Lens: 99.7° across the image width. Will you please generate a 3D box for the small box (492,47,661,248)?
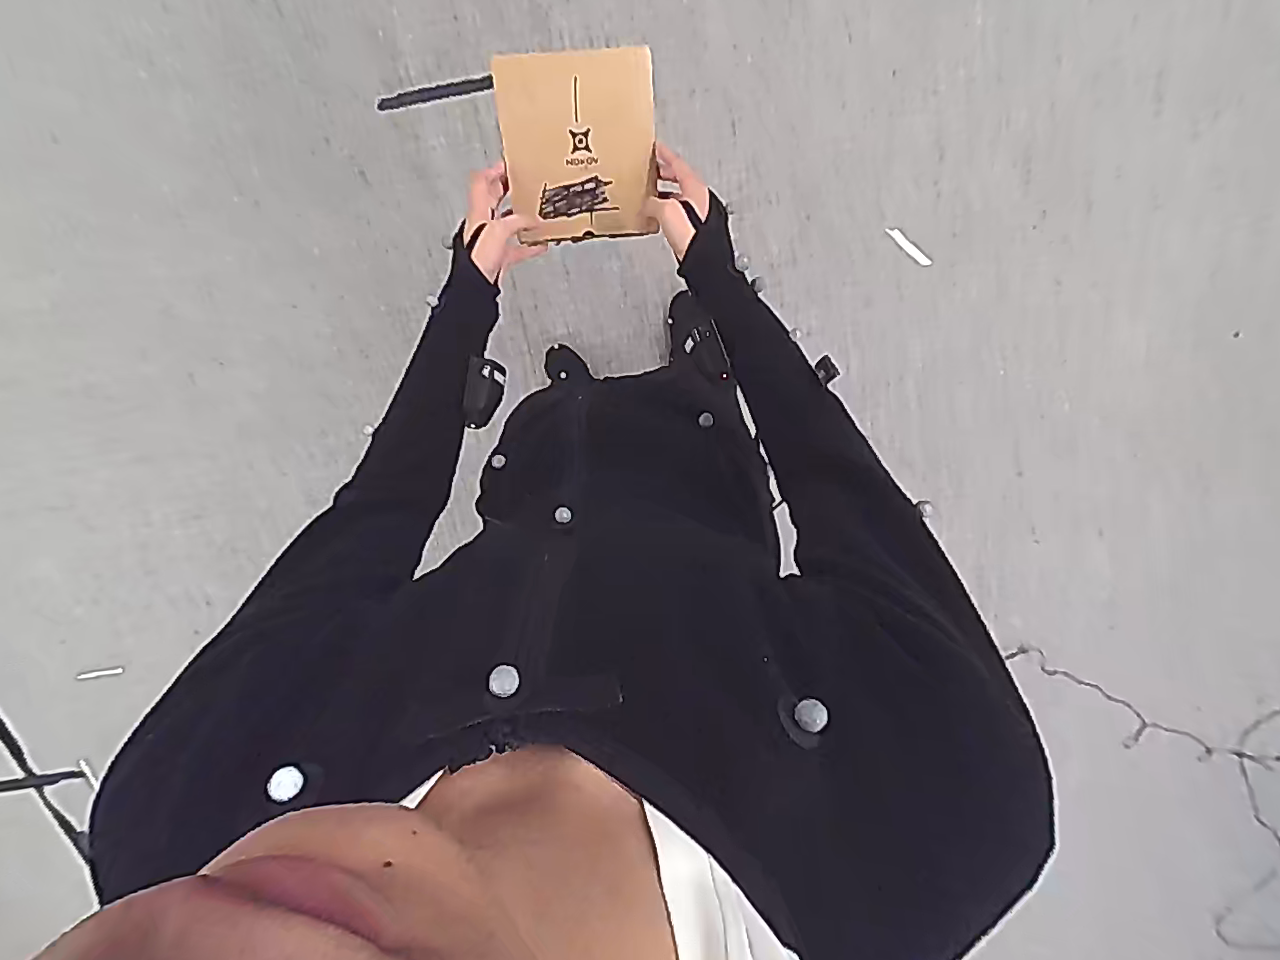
[{"bbox_3d":[-0.065,-0.383,0.642,0.168,0.176,0.179,-5,117,-2],"label":"small box"}]
